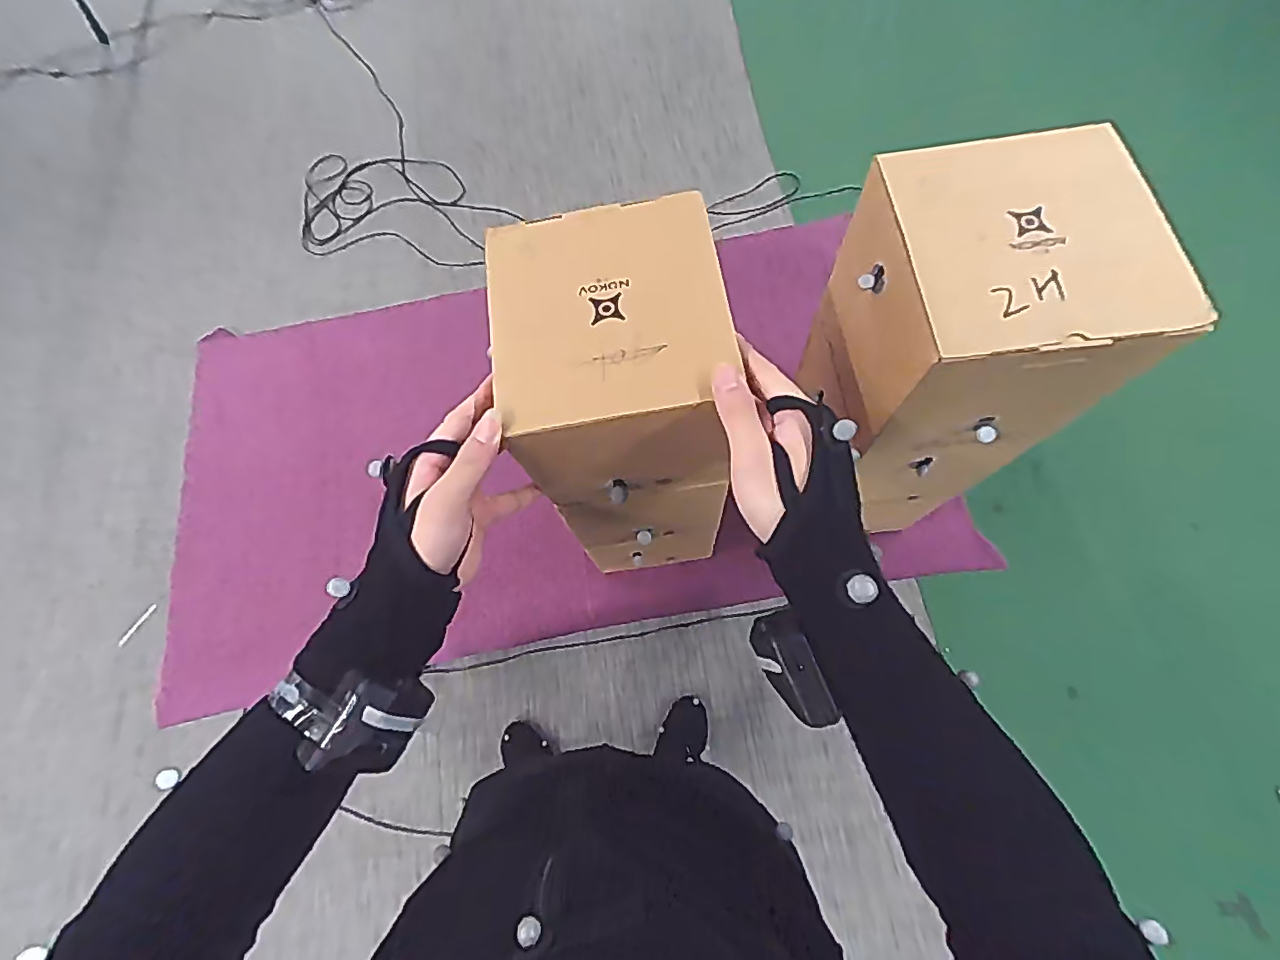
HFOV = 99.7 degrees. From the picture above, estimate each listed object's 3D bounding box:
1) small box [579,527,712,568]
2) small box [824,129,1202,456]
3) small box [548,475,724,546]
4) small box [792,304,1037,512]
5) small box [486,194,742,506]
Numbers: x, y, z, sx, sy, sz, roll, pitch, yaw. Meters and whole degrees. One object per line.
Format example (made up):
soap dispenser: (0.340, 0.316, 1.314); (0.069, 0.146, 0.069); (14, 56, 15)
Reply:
small box: (0.005, 0.020, 0.754); (0.168, 0.176, 0.179); (-9, 69, 2)
small box: (0.261, -0.135, 0.435); (0.168, 0.176, 0.179); (-6, 71, 3)
small box: (-0.007, -0.037, 0.600); (0.168, 0.176, 0.179); (-7, 70, 2)
small box: (0.273, -0.078, 0.589); (0.168, 0.176, 0.179); (-7, 69, 3)
small box: (-0.019, -0.093, 0.448); (0.168, 0.176, 0.179); (-9, 71, 2)
